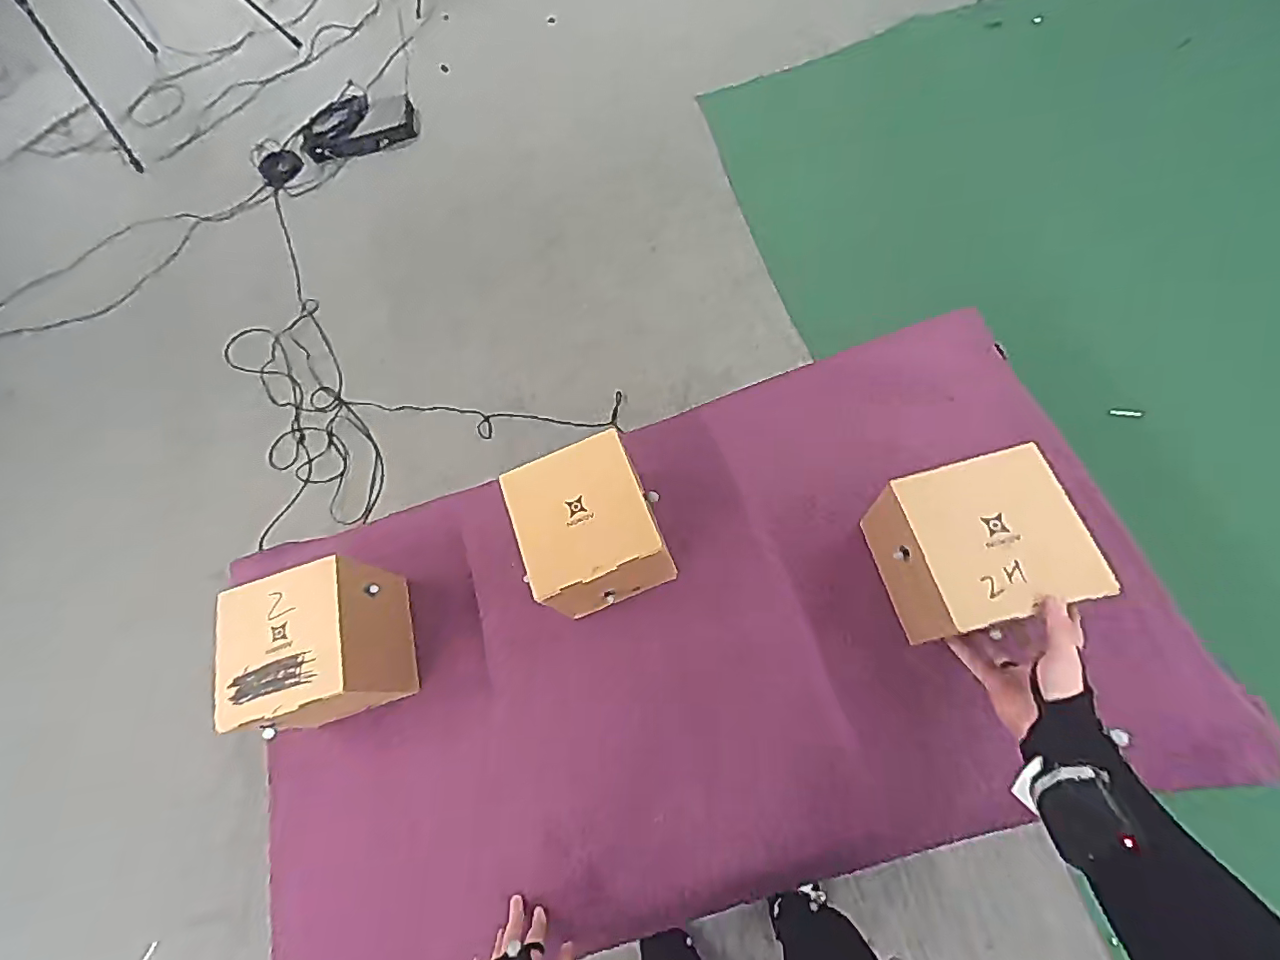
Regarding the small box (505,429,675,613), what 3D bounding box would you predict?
[{"bbox_3d":[-0.060,0.065,0.736,0.168,0.176,0.179,-23,69,0],"label":"small box"}]
